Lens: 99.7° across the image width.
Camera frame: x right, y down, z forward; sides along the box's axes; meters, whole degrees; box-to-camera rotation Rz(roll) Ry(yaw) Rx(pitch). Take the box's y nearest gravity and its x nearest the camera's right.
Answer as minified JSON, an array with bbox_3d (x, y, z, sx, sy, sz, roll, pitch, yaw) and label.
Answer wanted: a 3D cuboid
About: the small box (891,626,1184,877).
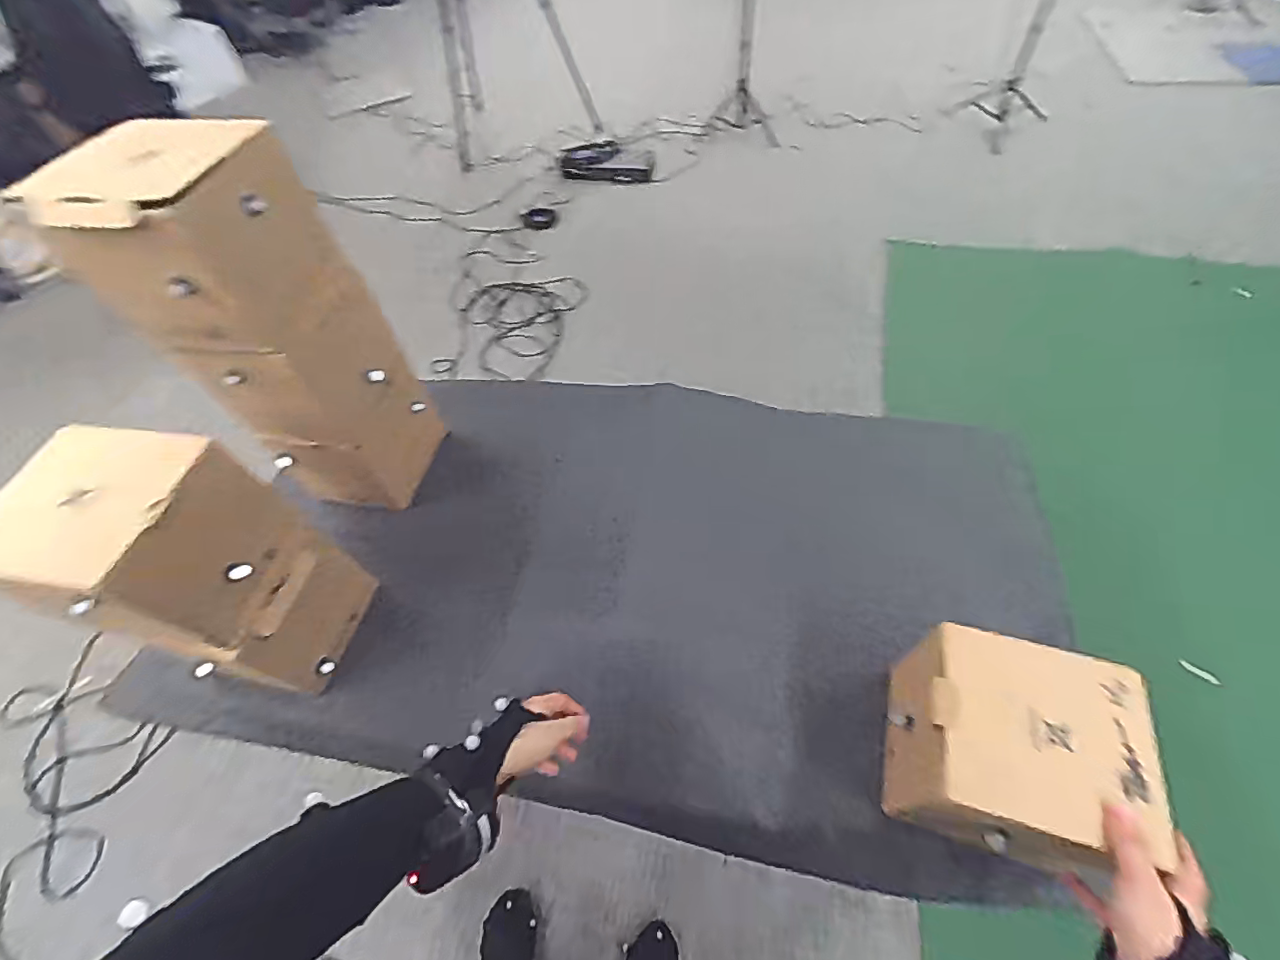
[{"bbox_3d":[0.369,0.275,0.544,0.179,0.176,0.168,13,56,14],"label":"small box"}]

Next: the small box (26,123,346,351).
[{"bbox_3d":[-0.464,-0.262,0.593,0.168,0.176,0.179,5,55,7],"label":"small box"}]

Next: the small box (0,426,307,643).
[{"bbox_3d":[-0.512,0.062,0.576,0.179,0.176,0.168,5,56,8],"label":"small box"}]

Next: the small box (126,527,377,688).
[{"bbox_3d":[-0.485,0.158,0.705,0.179,0.176,0.168,8,57,11],"label":"small box"}]

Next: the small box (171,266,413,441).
[{"bbox_3d":[-0.445,-0.169,0.726,0.179,0.176,0.168,8,58,10],"label":"small box"}]
